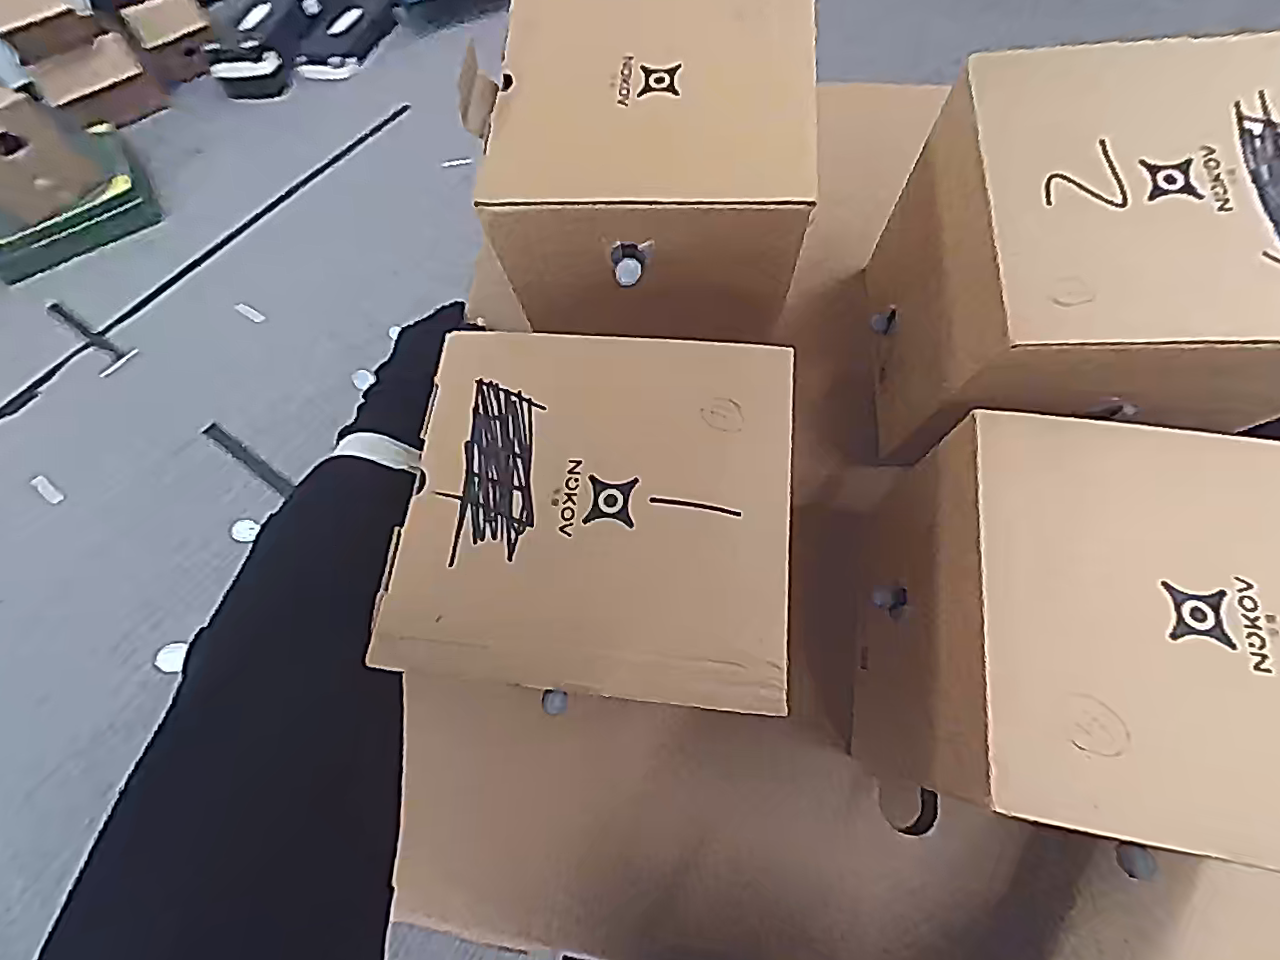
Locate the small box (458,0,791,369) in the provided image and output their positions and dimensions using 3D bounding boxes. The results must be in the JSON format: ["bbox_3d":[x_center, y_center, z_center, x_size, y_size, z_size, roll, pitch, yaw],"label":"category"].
[{"bbox_3d":[0.001,-0.189,0.375,0.179,0.176,0.168,2,73,7],"label":"small box"}]
